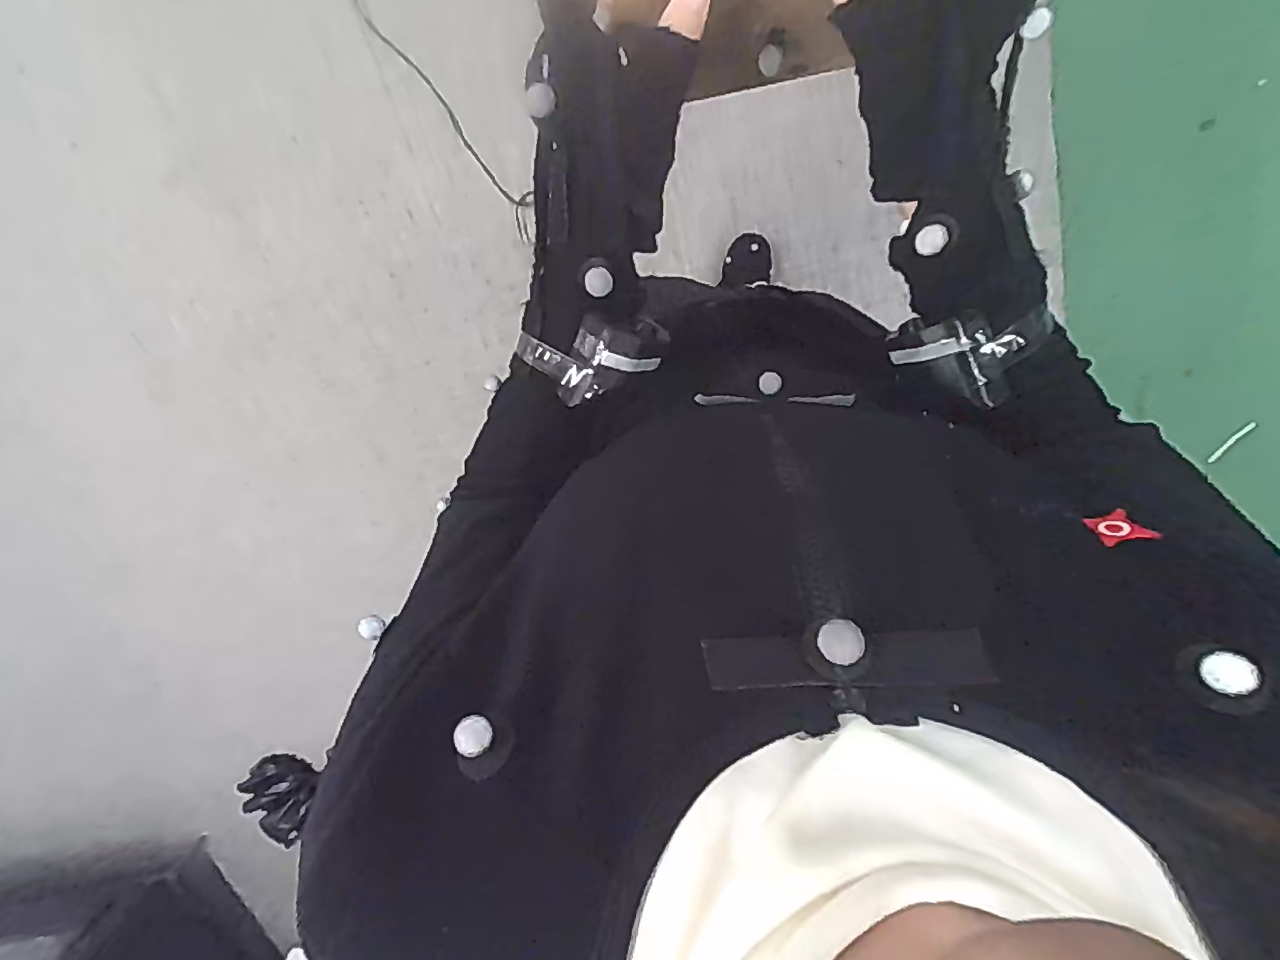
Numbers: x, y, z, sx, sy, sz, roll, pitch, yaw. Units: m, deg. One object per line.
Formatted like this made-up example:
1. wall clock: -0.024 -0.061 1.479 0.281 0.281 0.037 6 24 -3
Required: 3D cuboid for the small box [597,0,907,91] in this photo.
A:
1. small box: 0.061 -0.330 0.276 0.168 0.176 0.179 -5 109 11
